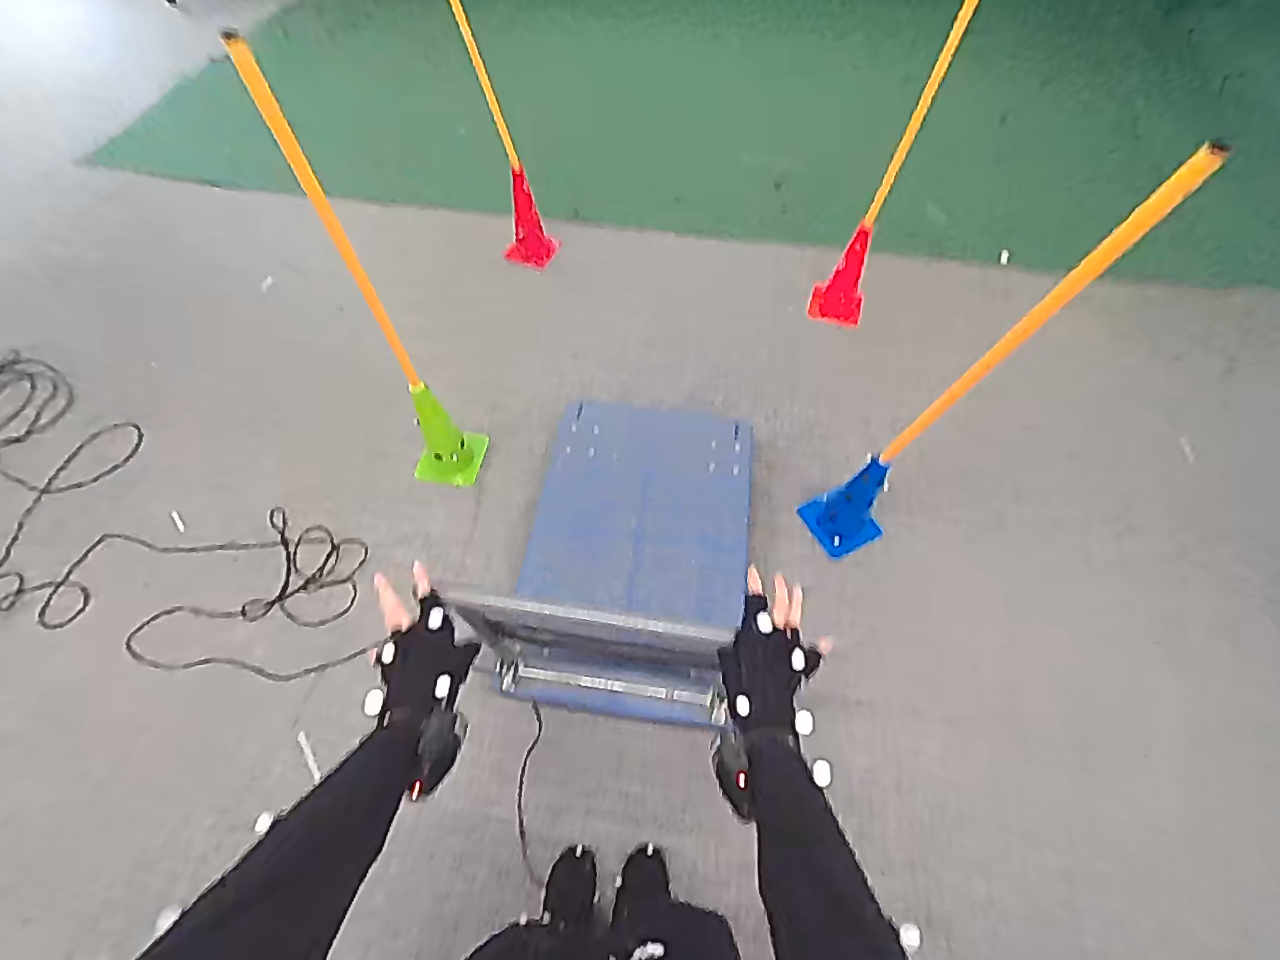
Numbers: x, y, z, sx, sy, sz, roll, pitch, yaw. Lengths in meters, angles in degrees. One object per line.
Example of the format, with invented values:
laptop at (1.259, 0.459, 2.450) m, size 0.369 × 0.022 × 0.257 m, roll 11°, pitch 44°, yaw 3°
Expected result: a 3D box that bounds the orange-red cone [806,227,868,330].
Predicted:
orange-red cone at (0.777, -0.772, 2.025) m, size 0.198 × 0.360 × 0.199 m, roll 17°, pitch 60°, yaw 11°
